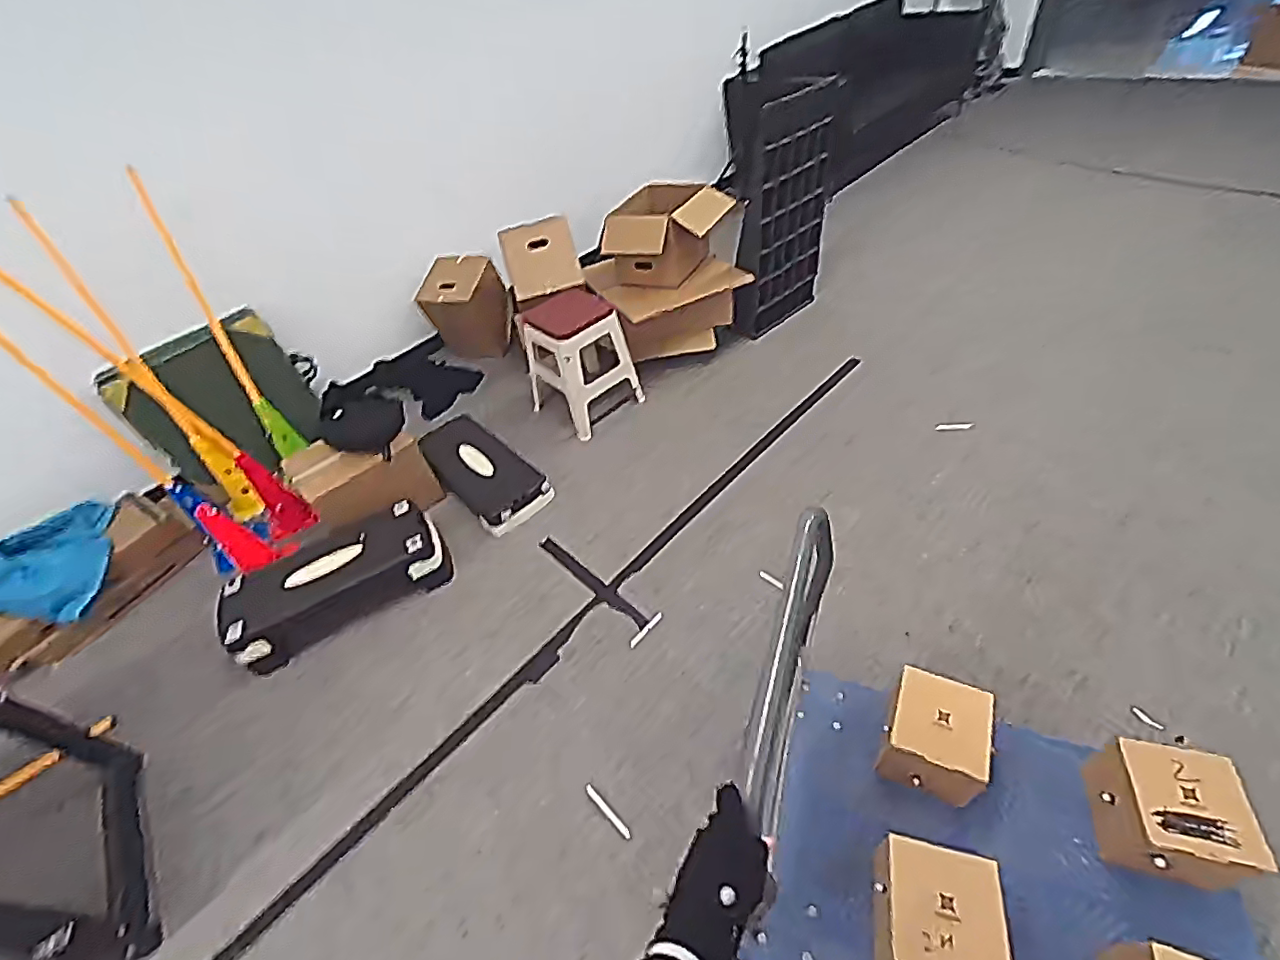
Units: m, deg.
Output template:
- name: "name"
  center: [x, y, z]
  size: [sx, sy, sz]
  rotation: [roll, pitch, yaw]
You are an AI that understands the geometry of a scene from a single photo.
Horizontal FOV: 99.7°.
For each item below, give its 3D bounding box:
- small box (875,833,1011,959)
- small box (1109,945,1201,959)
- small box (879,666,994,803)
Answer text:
- name: "small box"
  center: [0.498, 0.736, 0.912]
  size: [0.168, 0.176, 0.179]
  rotation: [6, 47, 17]
- name: "small box"
  center: [0.821, 0.811, 0.776]
  size: [0.179, 0.176, 0.168]
  rotation: [10, 48, 21]
- name: "small box"
  center: [0.601, 0.521, 1.107]
  size: [0.168, 0.176, 0.179]
  rotation: [14, 51, 23]
